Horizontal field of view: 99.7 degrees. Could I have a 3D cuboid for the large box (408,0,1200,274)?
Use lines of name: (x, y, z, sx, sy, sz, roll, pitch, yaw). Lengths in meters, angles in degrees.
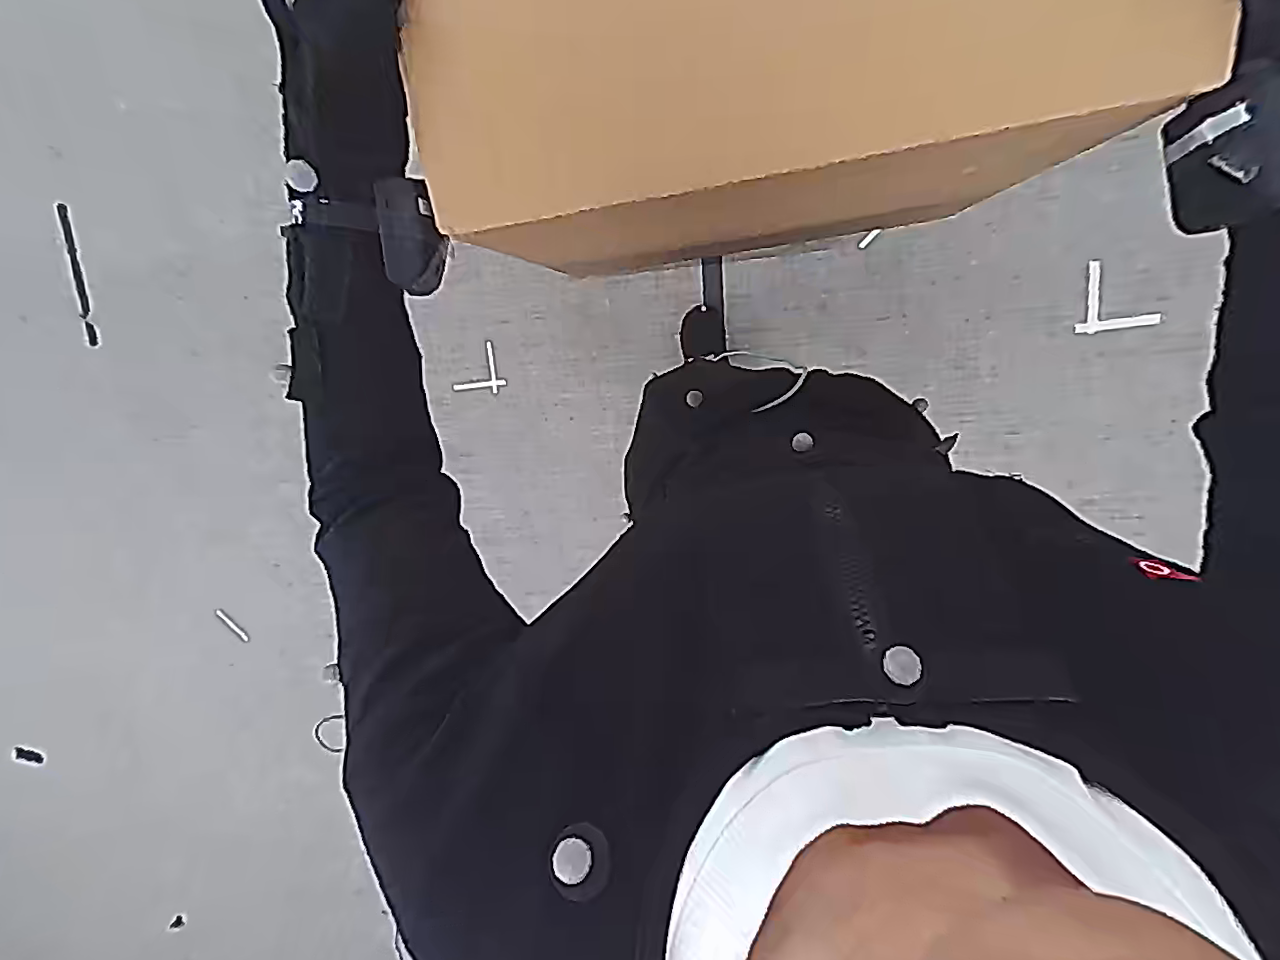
large box: (0.075, -0.365, 0.407, 0.408, 0.320, 0.320, -7, 105, 9)
